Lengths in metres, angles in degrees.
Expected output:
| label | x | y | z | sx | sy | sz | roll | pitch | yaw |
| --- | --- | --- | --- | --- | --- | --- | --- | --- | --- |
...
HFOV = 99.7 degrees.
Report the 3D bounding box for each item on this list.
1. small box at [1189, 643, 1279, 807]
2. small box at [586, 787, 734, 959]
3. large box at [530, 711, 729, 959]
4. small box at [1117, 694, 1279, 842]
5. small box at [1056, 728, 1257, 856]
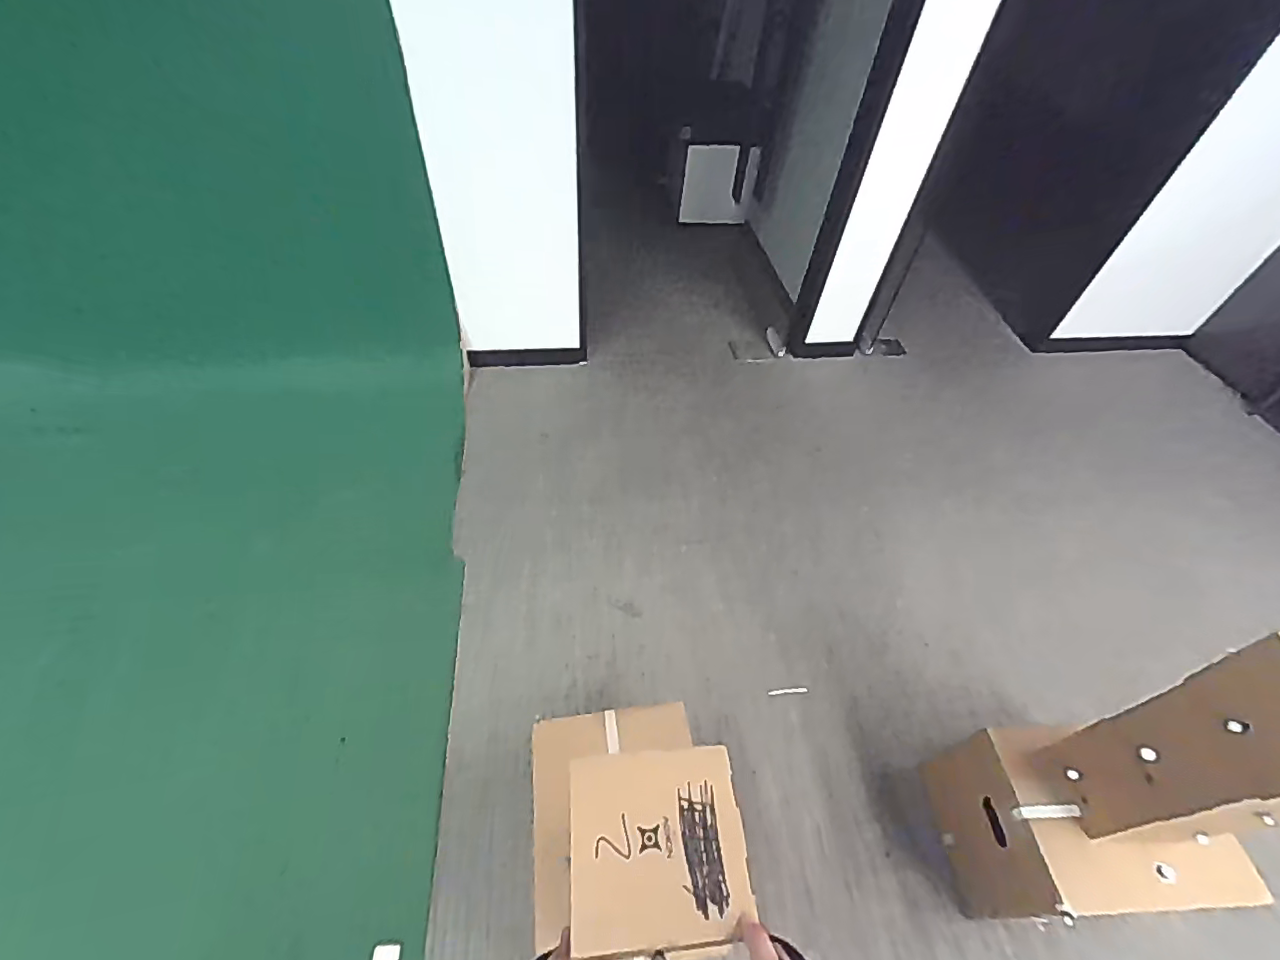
| label | x | y | z | sx | sy | sz | roll | pitch | yaw |
| --- | --- | --- | --- | --- | --- | --- | --- | --- | --- |
| small box | 0.944 | 0.347 | 0.741 | 0.168 | 0.176 | 0.179 | 4 | 47 | -2 |
| small box | 0.015 | 0.530 | 0.717 | 0.168 | 0.176 | 0.179 | -2 | 48 | -7 |
| large box | -0.043 | 0.734 | 1.076 | 0.320 | 0.320 | 0.408 | -4 | 48 | -8 |
| small box | 0.936 | 0.460 | 0.859 | 0.179 | 0.176 | 0.168 | 4 | 46 | 0 |
| small box | 0.922 | 0.569 | 0.982 | 0.179 | 0.176 | 0.168 | 4 | 47 | -2 |
